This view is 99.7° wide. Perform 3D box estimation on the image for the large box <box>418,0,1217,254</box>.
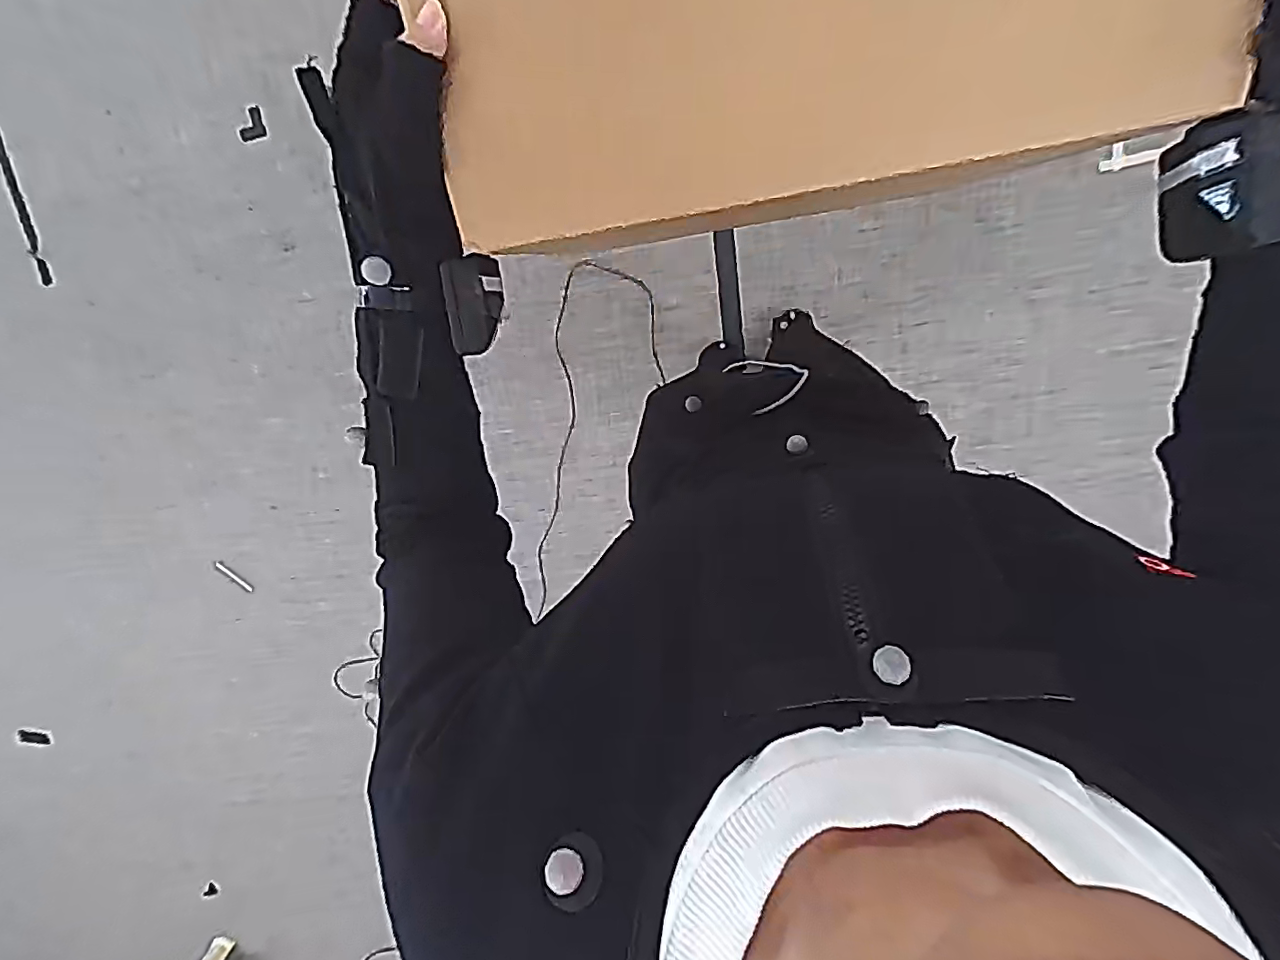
[{"bbox_3d":[0.080,-0.367,0.392,0.408,0.320,0.320,-7,112,8],"label":"large box"}]
